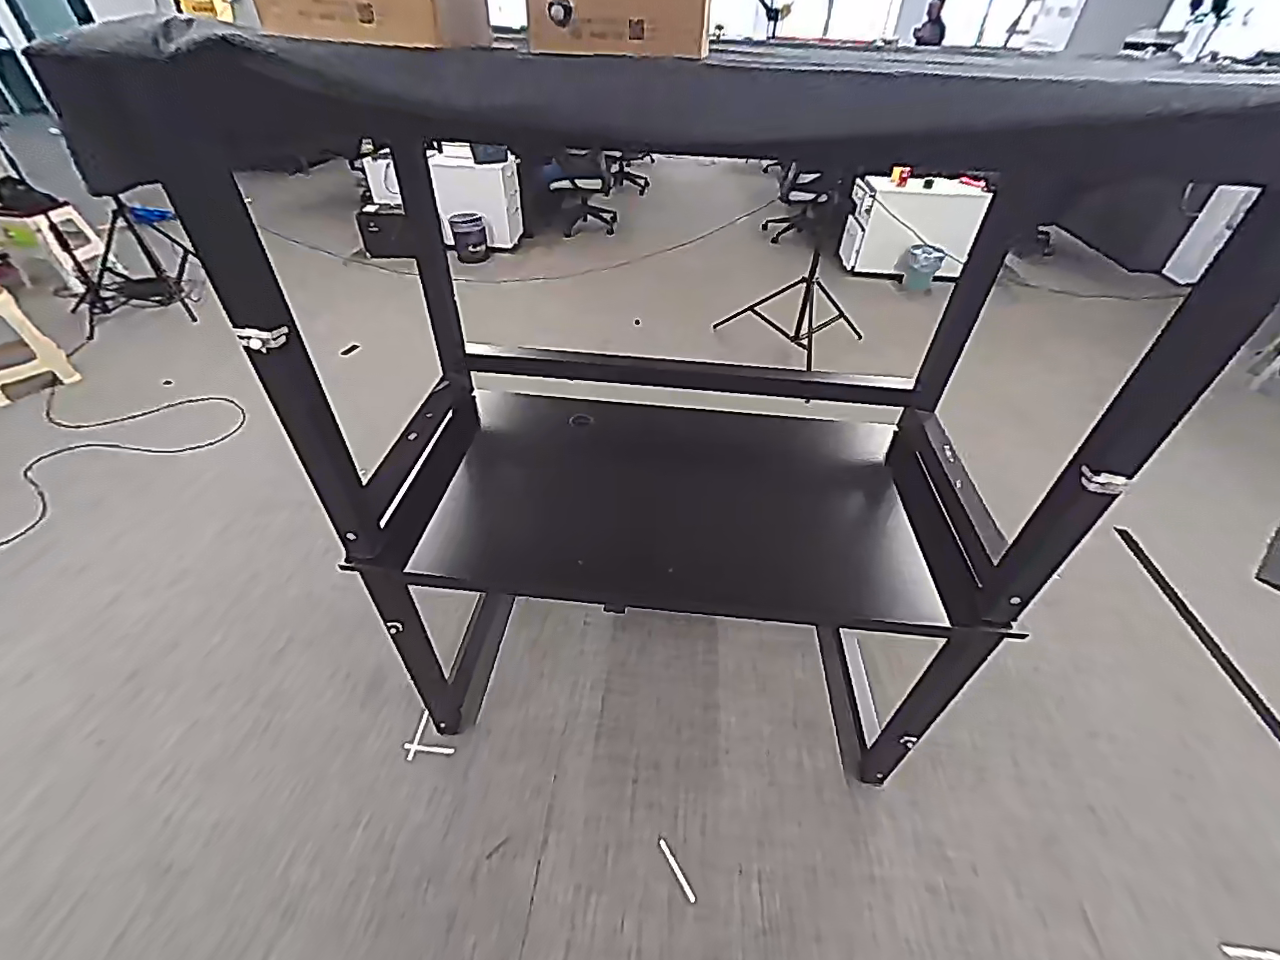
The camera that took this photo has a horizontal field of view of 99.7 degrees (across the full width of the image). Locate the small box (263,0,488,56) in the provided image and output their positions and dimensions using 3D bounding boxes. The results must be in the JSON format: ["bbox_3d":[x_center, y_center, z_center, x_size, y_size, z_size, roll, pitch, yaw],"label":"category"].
[{"bbox_3d":[-0.254,-0.511,0.512,0.168,0.176,0.179,5,39,2],"label":"small box"}]

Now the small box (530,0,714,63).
[{"bbox_3d":[-0.010,-0.509,0.519,0.168,0.176,0.179,6,39,4],"label":"small box"}]
